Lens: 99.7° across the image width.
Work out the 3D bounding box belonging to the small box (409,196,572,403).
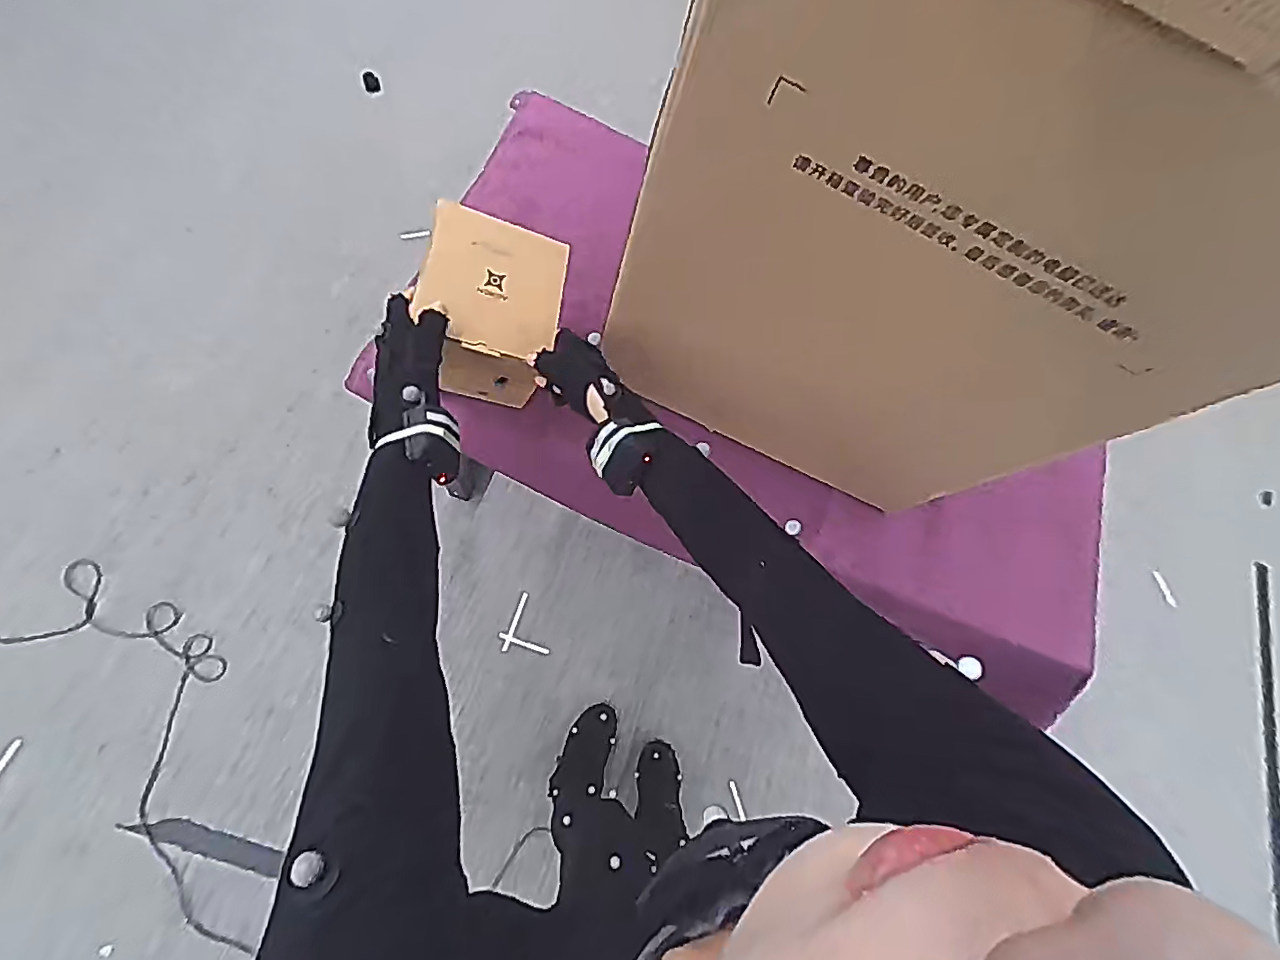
[{"bbox_3d":[-0.201,-0.219,0.712,0.168,0.176,0.179,12,73,-23],"label":"small box"}]
